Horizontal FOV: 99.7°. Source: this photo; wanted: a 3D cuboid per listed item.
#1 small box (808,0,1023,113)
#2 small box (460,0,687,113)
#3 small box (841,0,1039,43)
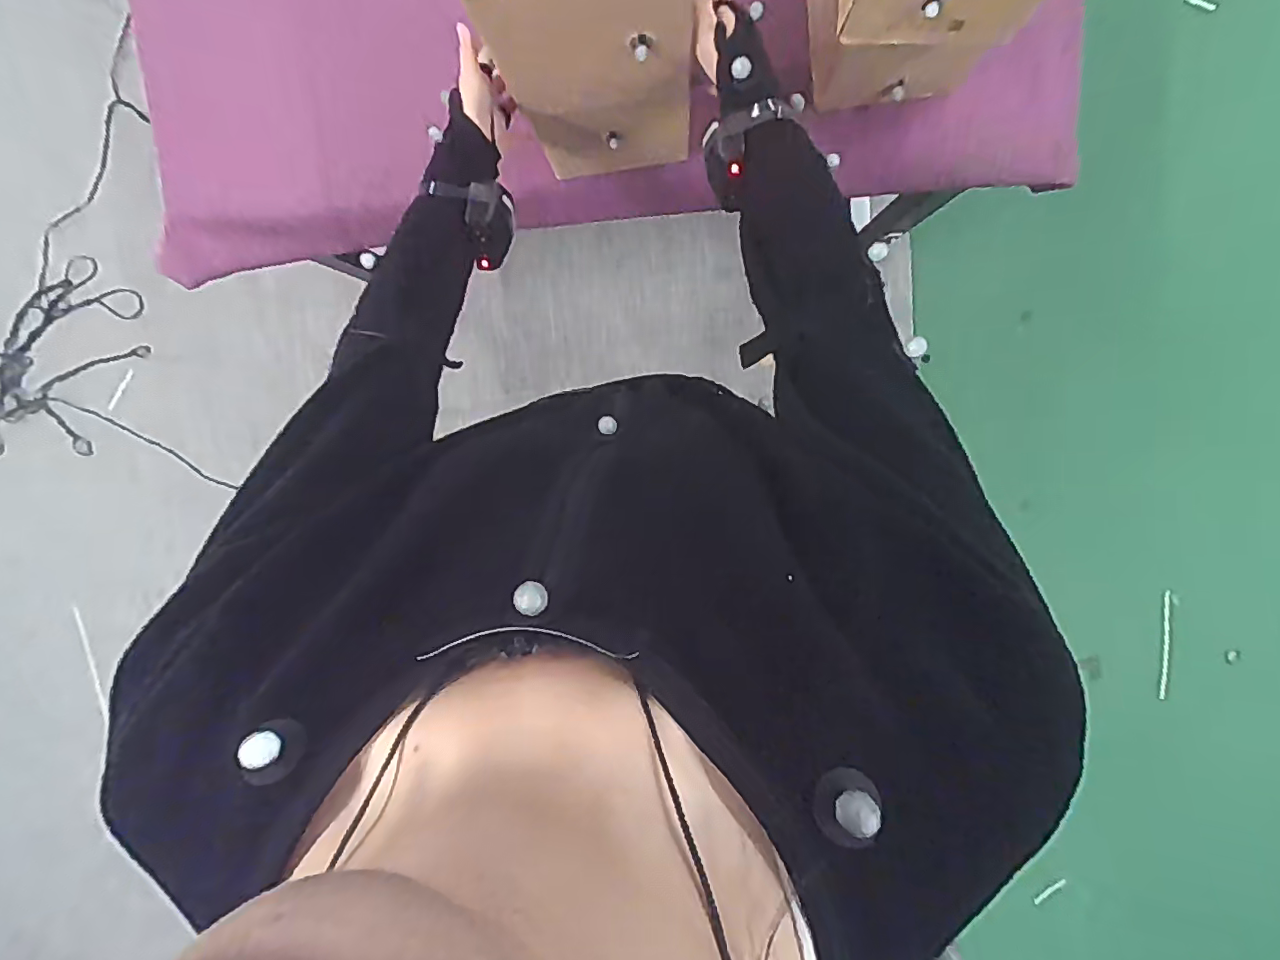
[{"bbox_3d":[0.295,-0.542,0.593,0.179,0.176,0.168,-5,95,5],"label":"small box"},{"bbox_3d":[-0.051,-0.450,0.460,0.179,0.176,0.168,-4,95,5],"label":"small box"},{"bbox_3d":[0.272,-0.503,0.434,0.168,0.176,0.179,3,98,4],"label":"small box"}]
